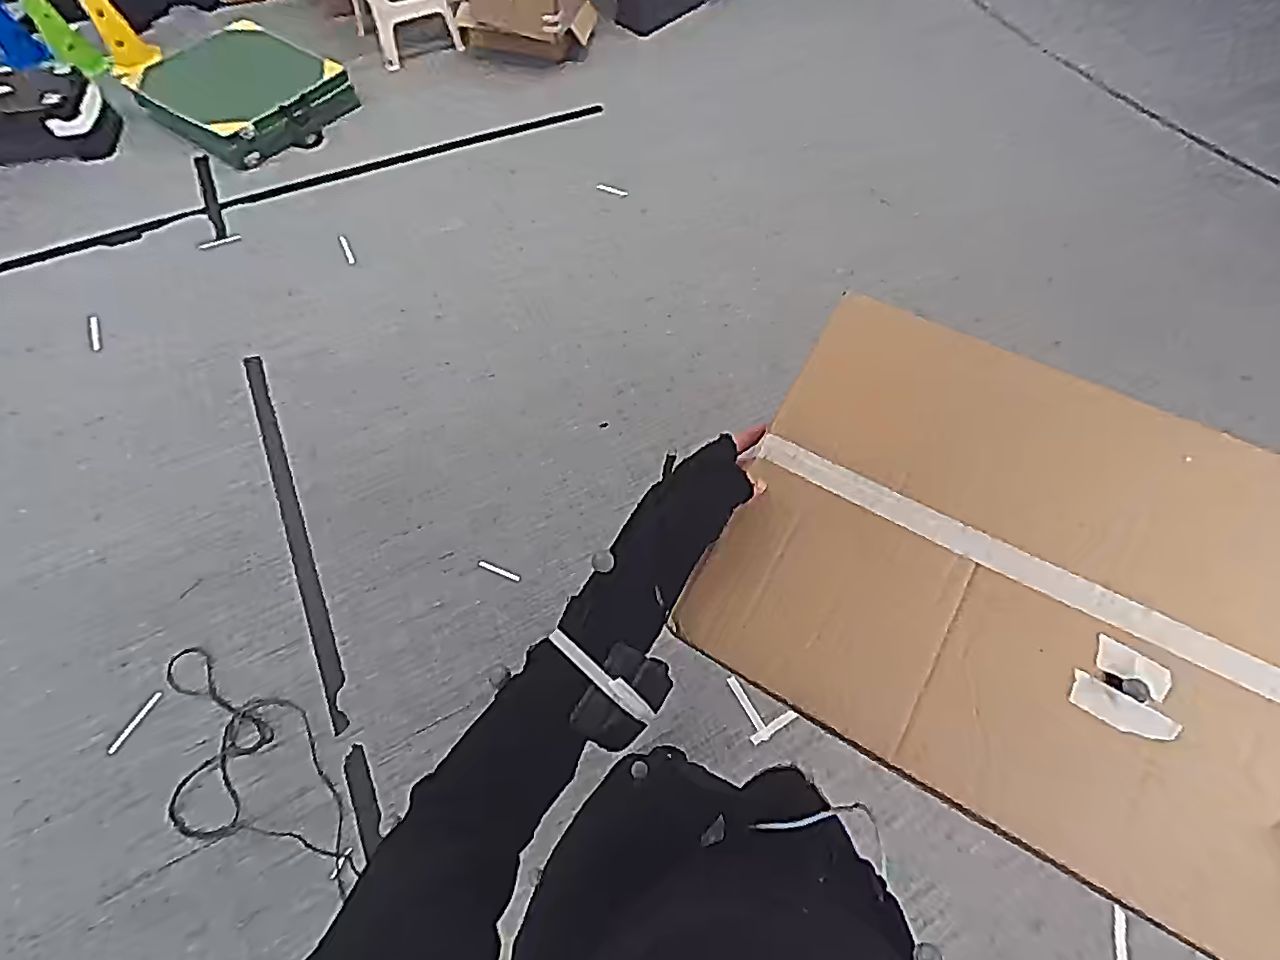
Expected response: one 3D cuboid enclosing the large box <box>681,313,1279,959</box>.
[{"bbox_3d":[0.286,0.114,0.520,0.408,0.320,0.320,28,78,14],"label":"large box"}]
